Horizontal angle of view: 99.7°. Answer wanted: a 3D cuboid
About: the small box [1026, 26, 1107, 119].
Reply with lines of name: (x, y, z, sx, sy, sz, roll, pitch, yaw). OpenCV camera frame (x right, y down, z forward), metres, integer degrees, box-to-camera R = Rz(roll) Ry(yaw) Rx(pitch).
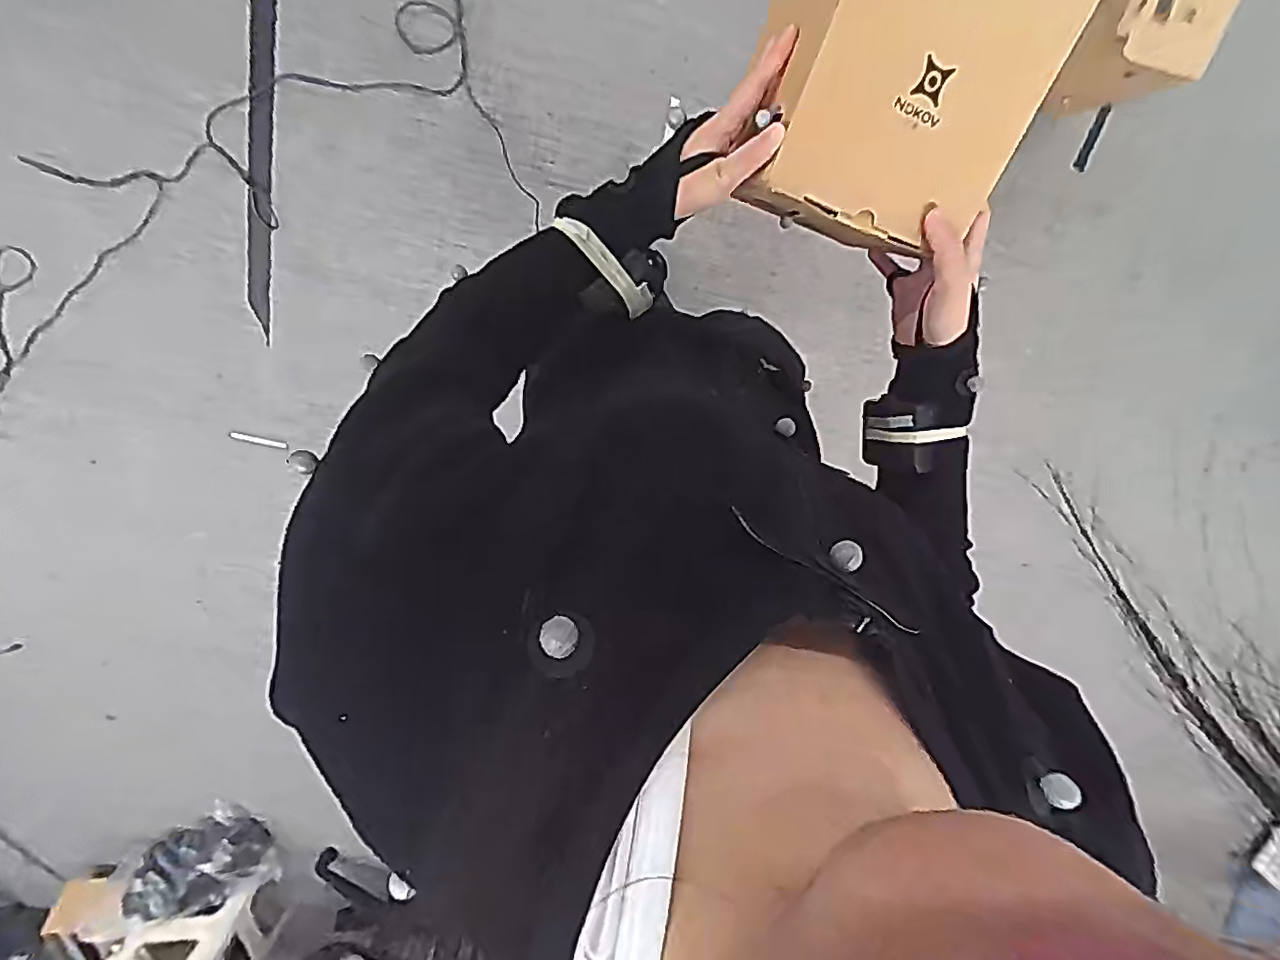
small box: (0.923, -0.902, 1.165, 0.179, 0.176, 0.168, 8, 113, -9)

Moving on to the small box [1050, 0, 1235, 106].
small box: (0.933, -0.833, 1.016, 0.179, 0.176, 0.168, 9, 112, -8)

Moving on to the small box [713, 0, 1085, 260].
small box: (0.174, -0.299, 0.428, 0.168, 0.176, 0.179, 14, 116, -16)
